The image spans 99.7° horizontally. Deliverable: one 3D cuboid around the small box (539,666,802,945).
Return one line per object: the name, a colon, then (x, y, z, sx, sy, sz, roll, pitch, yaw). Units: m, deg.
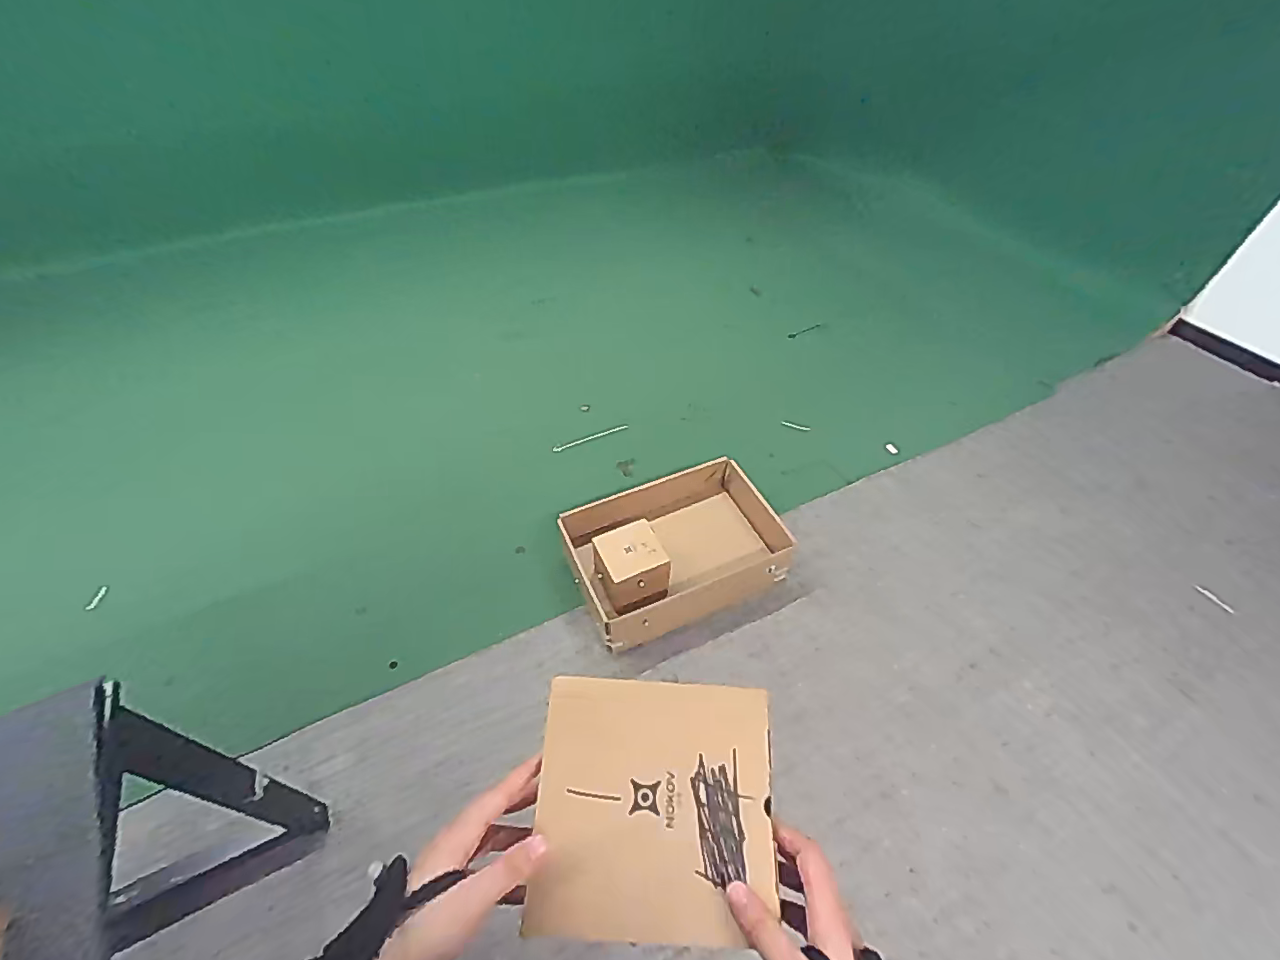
small box: (0.021, 0.262, 0.459, 0.179, 0.176, 0.168, 5, 61, -1)

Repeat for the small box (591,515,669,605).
small box: (-0.030, 0.236, 1.575, 0.179, 0.176, 0.168, -19, 53, -18)
